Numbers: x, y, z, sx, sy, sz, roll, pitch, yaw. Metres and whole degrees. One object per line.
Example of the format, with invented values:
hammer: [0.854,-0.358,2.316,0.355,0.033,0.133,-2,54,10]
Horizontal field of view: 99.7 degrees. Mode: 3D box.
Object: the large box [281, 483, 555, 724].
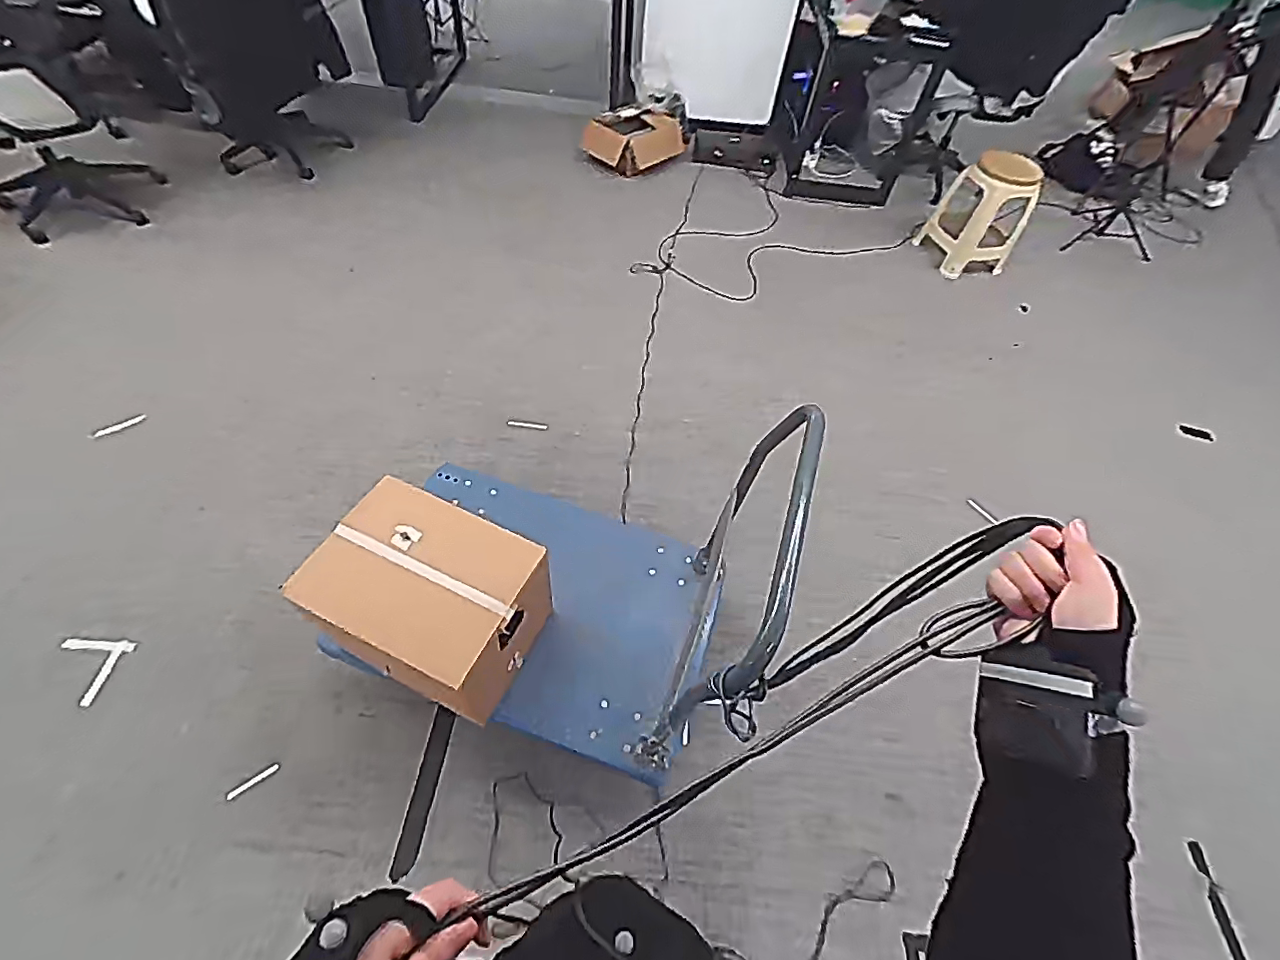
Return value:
large box: [-0.437,0.272,1.171,0.408,0.320,0.320,22,55,11]
